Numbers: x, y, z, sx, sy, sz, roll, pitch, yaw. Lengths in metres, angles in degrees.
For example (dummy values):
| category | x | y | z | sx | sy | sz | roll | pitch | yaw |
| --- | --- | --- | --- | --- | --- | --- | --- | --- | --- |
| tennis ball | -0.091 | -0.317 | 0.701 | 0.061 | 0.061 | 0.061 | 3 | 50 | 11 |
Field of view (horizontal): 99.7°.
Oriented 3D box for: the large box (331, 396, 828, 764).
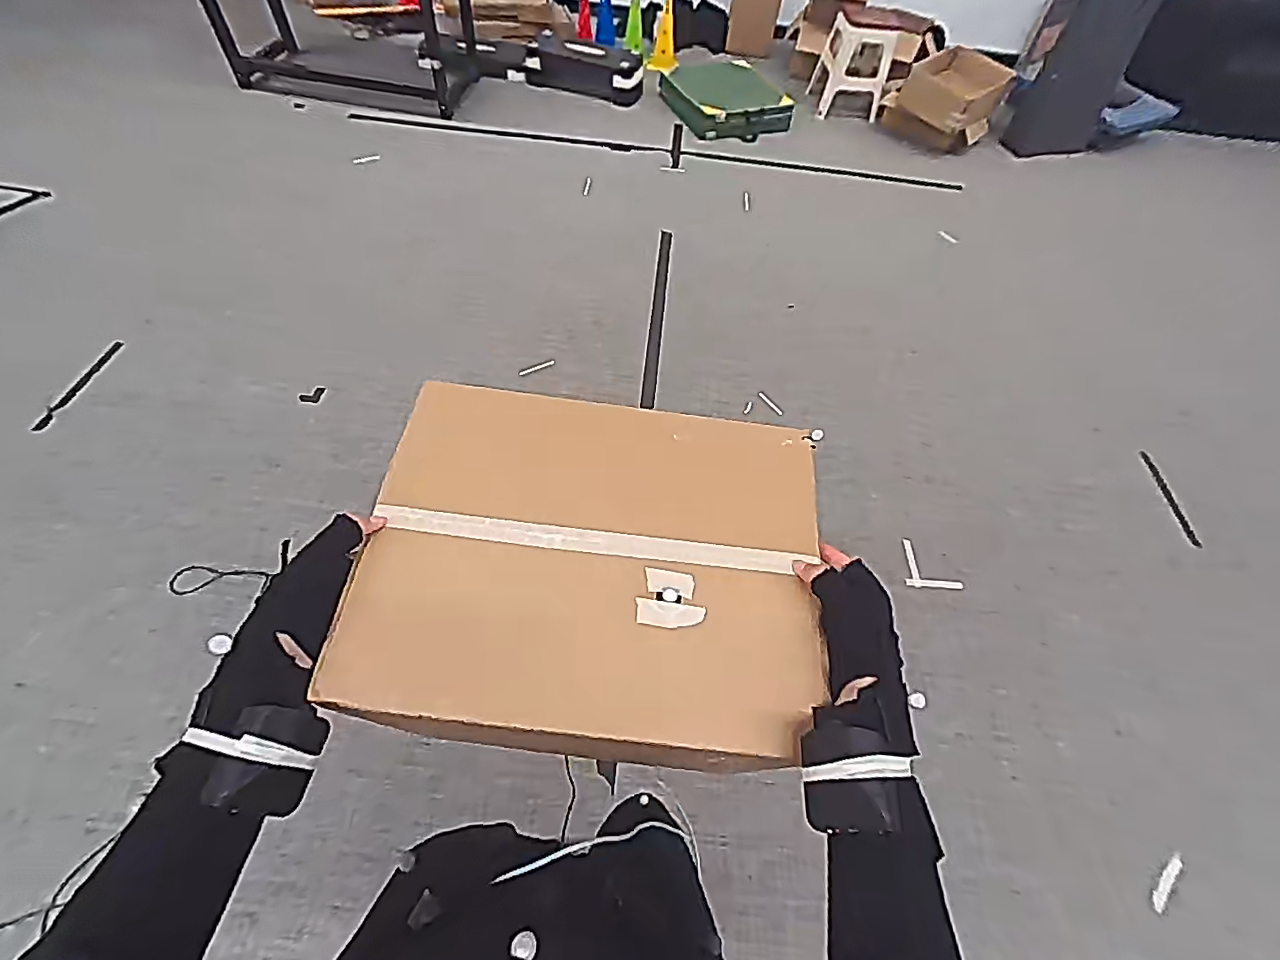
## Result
| category | x | y | z | sx | sy | sz | roll | pitch | yaw |
| --- | --- | --- | --- | --- | --- | --- | --- | --- | --- |
| large box | -0.049 | 0.137 | 0.627 | 0.408 | 0.320 | 0.320 | 7 | 61 | -2 |
